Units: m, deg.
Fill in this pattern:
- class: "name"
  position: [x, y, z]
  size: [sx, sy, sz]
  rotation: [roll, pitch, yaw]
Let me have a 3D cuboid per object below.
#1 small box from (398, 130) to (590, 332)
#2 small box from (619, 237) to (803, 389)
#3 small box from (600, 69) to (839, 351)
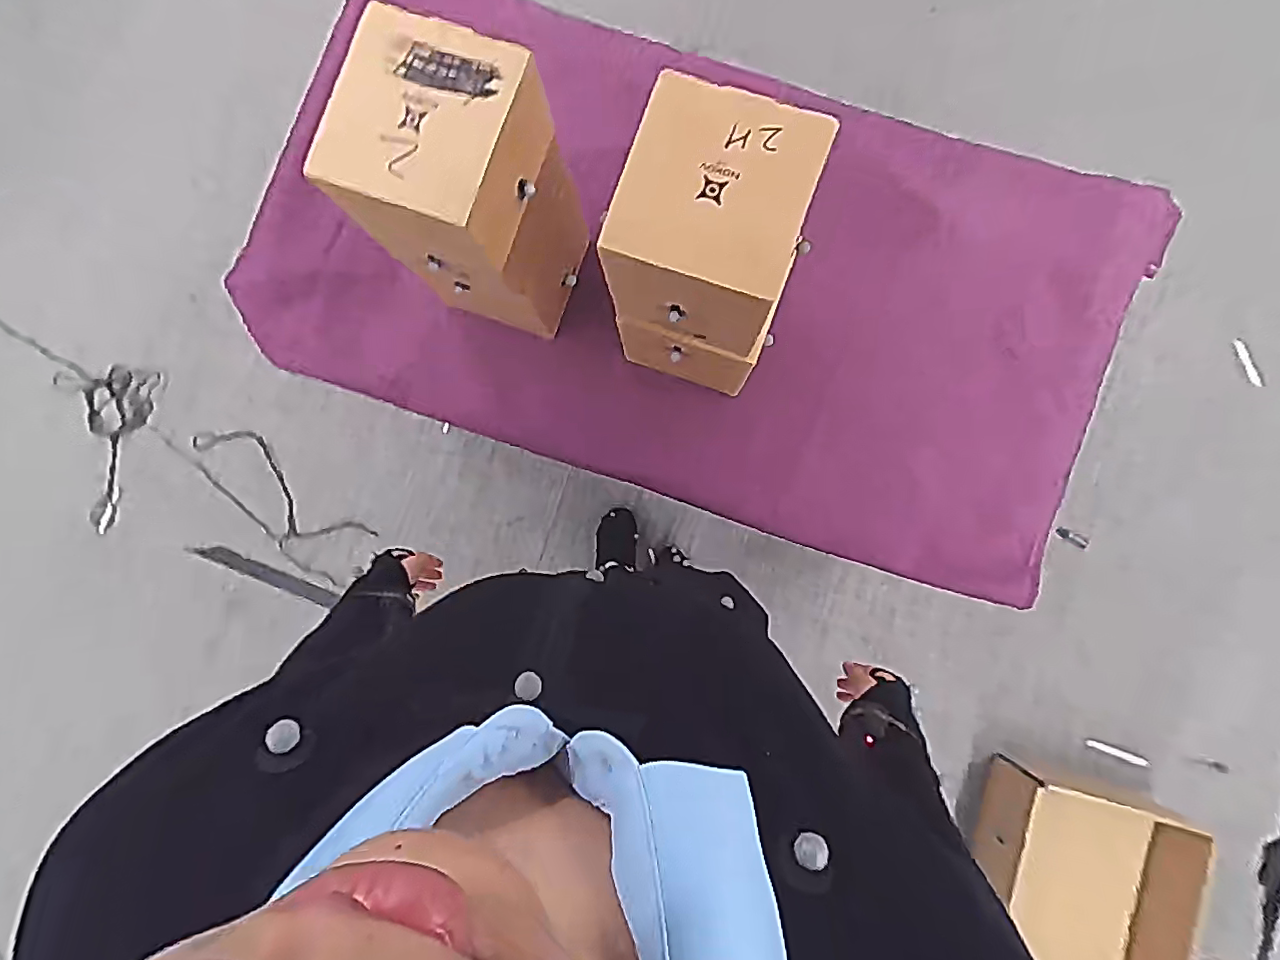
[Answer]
- class: "small box"
  position: [-0.183, -0.322, 0.734]
  size: [0.179, 0.176, 0.168]
  rotation: [20, 88, 4]
- class: "small box"
  position: [0.088, -0.233, 0.716]
  size: [0.179, 0.176, 0.168]
  rotation: [20, 88, 5]
- class: "small box"
  position: [0.075, -0.254, 0.552]
  size: [0.168, 0.176, 0.179]
  rotation: [21, 87, 4]
